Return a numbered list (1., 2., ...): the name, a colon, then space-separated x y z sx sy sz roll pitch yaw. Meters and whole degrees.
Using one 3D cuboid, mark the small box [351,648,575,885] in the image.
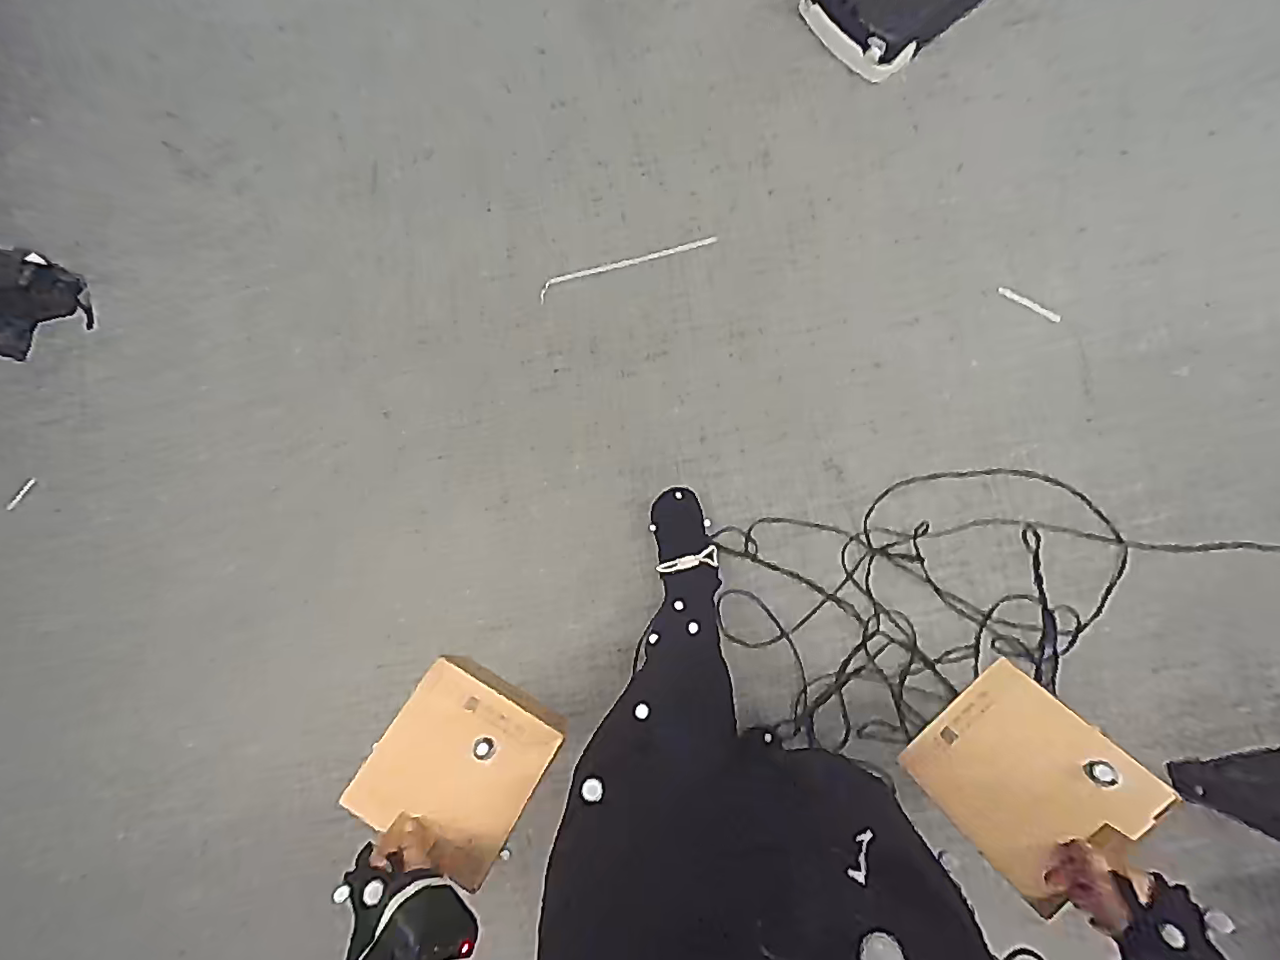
1. small box: -0.189 0.317 0.639 0.168 0.179 0.176 32 69 5
